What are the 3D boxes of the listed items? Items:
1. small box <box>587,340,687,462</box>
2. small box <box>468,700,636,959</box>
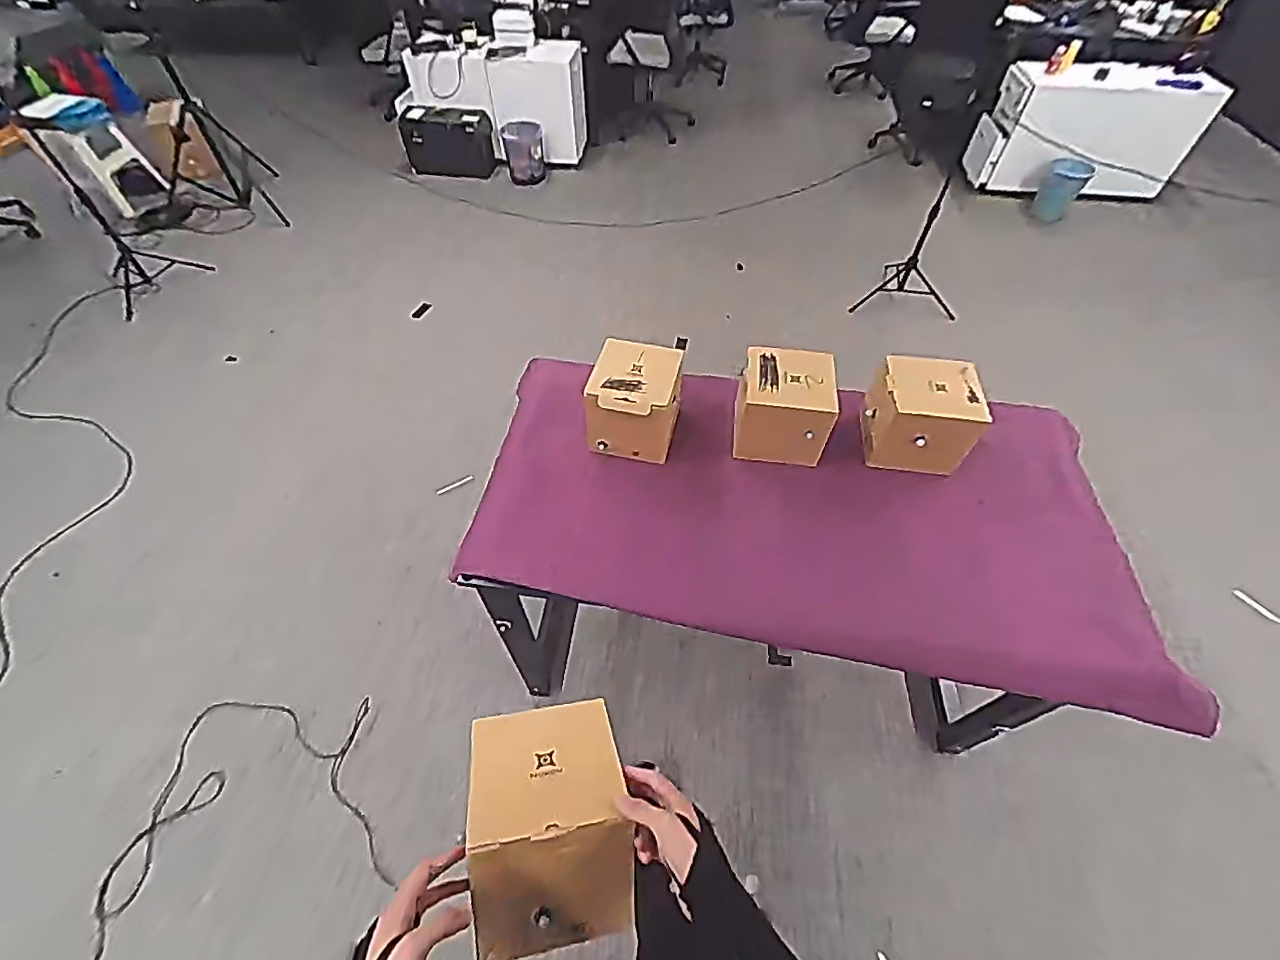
[{"bbox_3d":[-0.003,-0.160,1.123,0.168,0.176,0.179,11,53,8],"label":"small box"},{"bbox_3d":[-0.105,0.391,0.627,0.168,0.176,0.179,-4,20,-14],"label":"small box"}]
